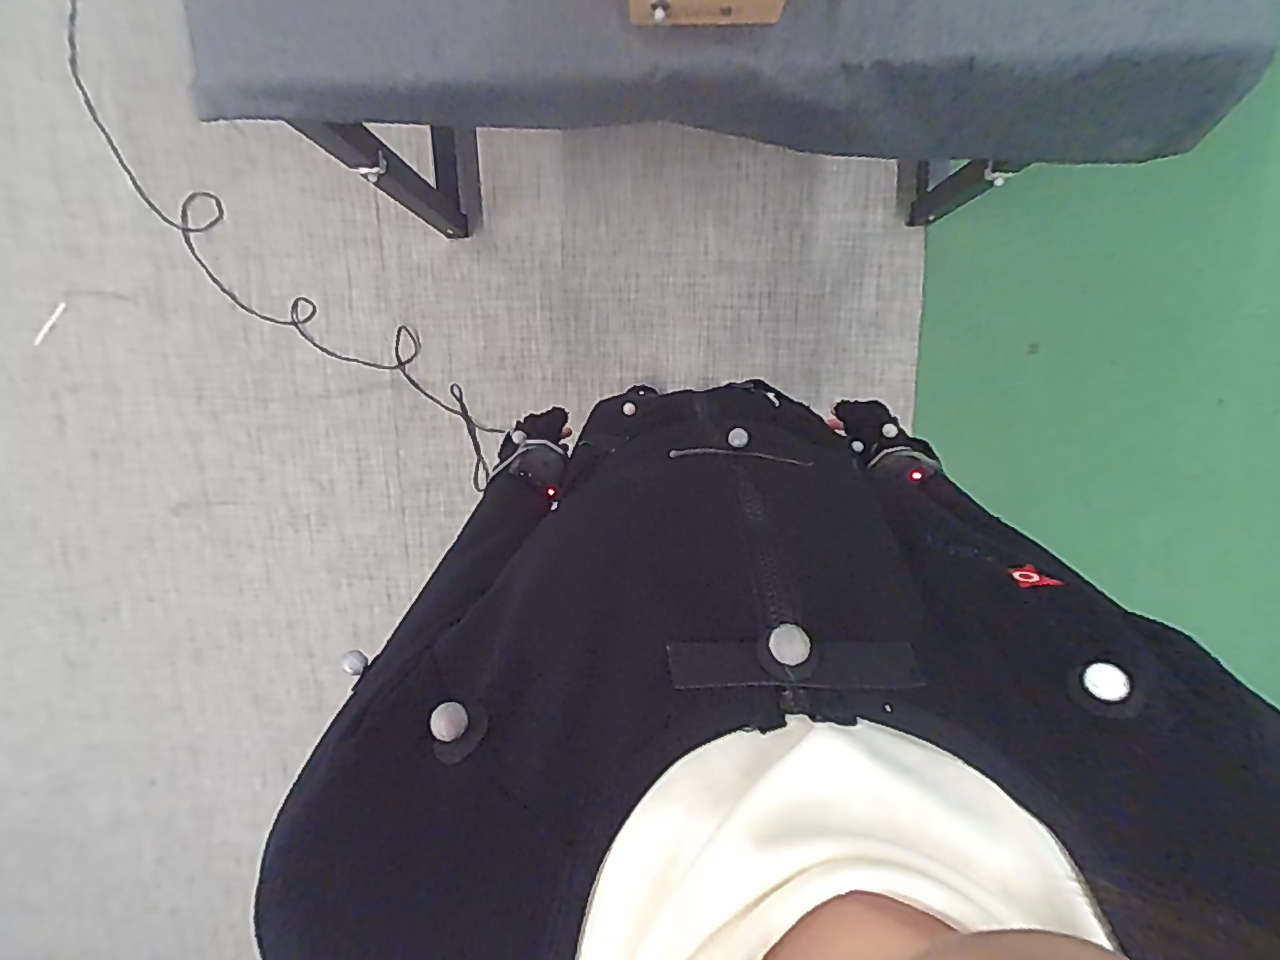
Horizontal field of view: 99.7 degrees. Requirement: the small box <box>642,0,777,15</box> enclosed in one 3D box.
[{"bbox_3d":[0.071,-0.595,0.520,0.168,0.176,0.179,1,98,1],"label":"small box"}]
